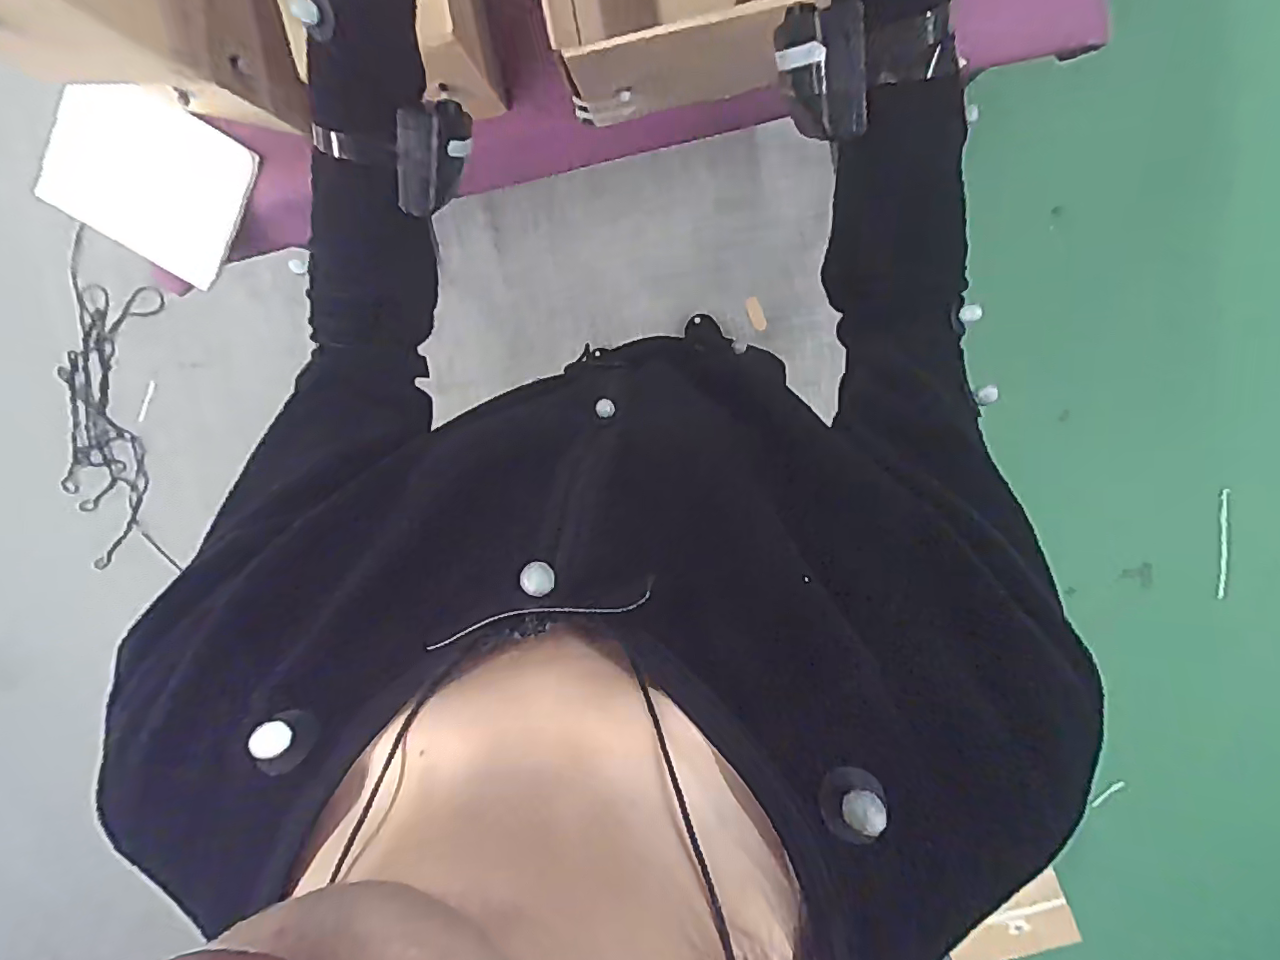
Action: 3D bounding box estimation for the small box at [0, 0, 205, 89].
[{"bbox_3d":[-0.512,-0.459,0.454,0.179,0.176,0.168,3,104,5],"label":"small box"}]

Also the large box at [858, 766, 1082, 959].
[{"bbox_3d":[0.917,1.114,1.555,0.408,0.320,0.320,-25,101,9],"label":"large box"}]
